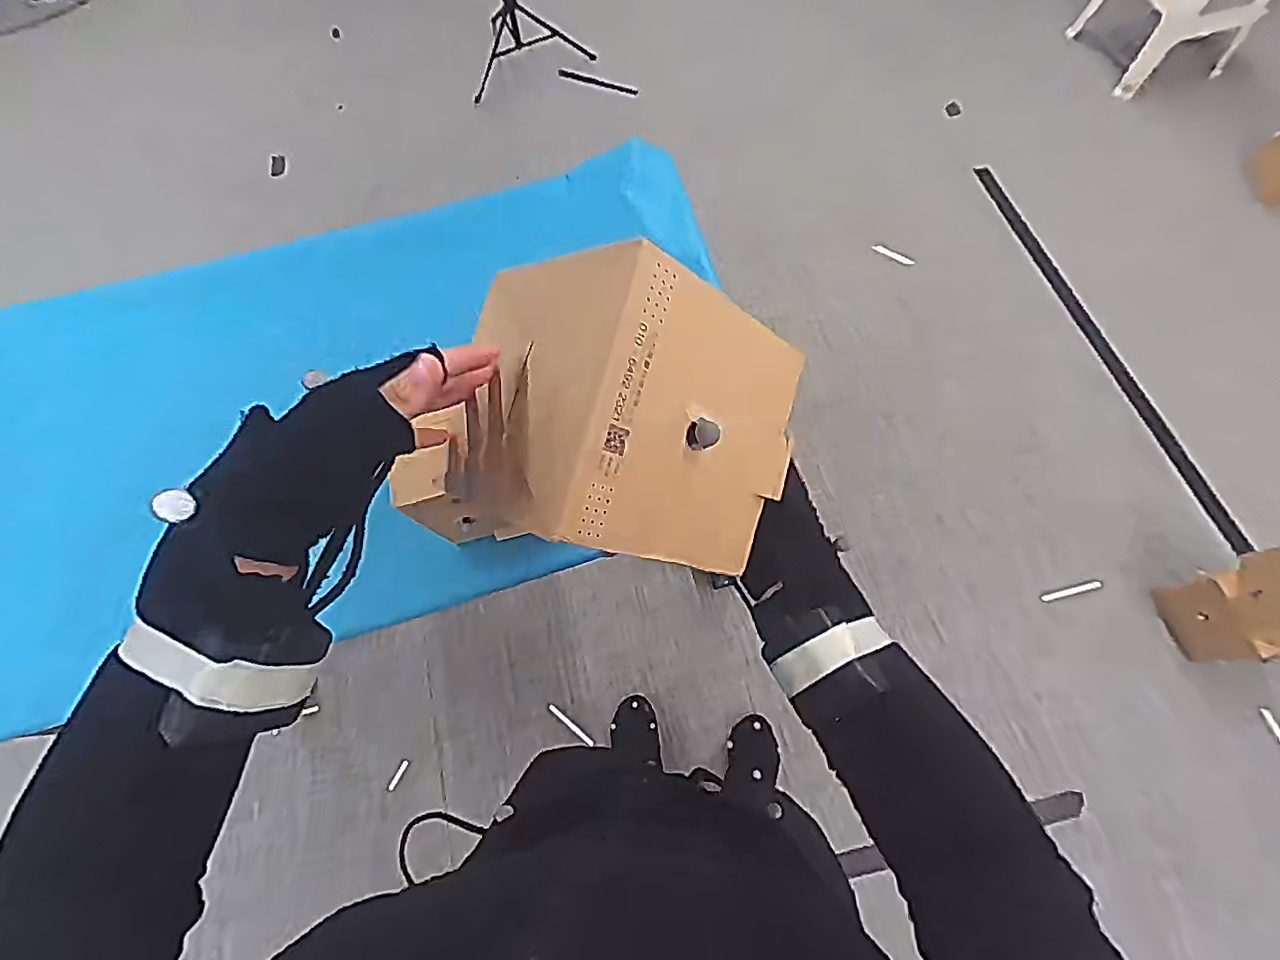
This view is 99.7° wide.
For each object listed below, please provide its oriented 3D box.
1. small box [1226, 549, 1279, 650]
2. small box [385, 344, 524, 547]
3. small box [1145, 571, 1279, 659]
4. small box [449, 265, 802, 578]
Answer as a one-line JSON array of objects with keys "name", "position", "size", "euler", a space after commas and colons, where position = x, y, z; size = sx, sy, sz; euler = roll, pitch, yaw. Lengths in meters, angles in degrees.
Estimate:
[{"name": "small box", "position": [1.338, 0.244, 1.076], "size": [0.168, 0.176, 0.179], "euler": [20, 71, 10]}, {"name": "small box", "position": [-0.192, -0.039, 0.668], "size": [0.168, 0.176, 0.179], "euler": [-16, 69, -2]}, {"name": "small box", "position": [1.334, 0.305, 1.233], "size": [0.168, 0.176, 0.179], "euler": [-13, 69, -2]}, {"name": "small box", "position": [-0.016, -0.037, 0.400], "size": [0.179, 0.176, 0.168], "euler": [15, 86, 48]}]
